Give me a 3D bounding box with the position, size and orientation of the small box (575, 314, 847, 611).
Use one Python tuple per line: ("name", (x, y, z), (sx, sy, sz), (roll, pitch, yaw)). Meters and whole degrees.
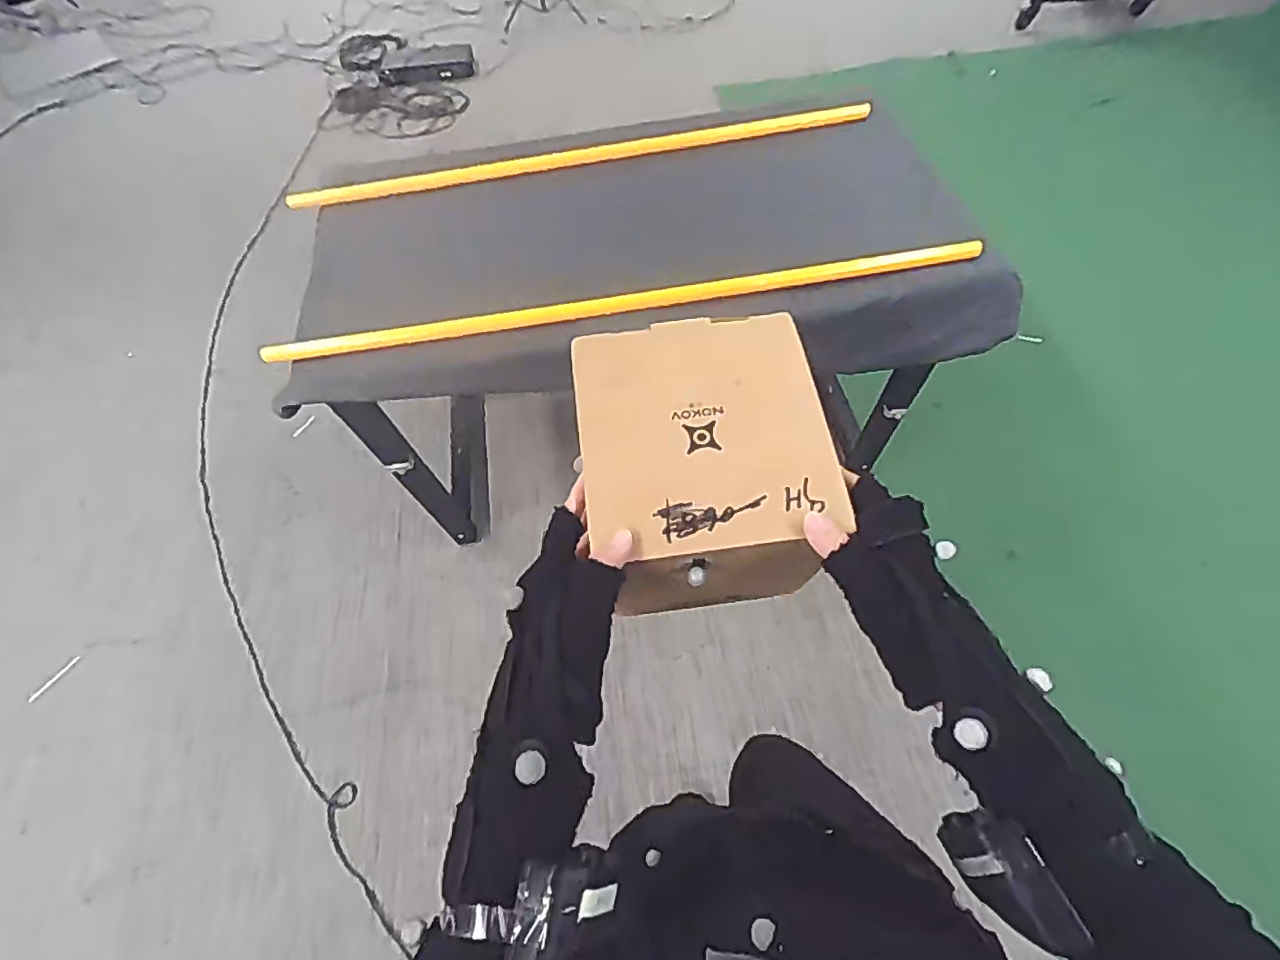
("small box", (0.043, -0.005, 0.444), (0.168, 0.176, 0.179), (-8, 64, 0))
